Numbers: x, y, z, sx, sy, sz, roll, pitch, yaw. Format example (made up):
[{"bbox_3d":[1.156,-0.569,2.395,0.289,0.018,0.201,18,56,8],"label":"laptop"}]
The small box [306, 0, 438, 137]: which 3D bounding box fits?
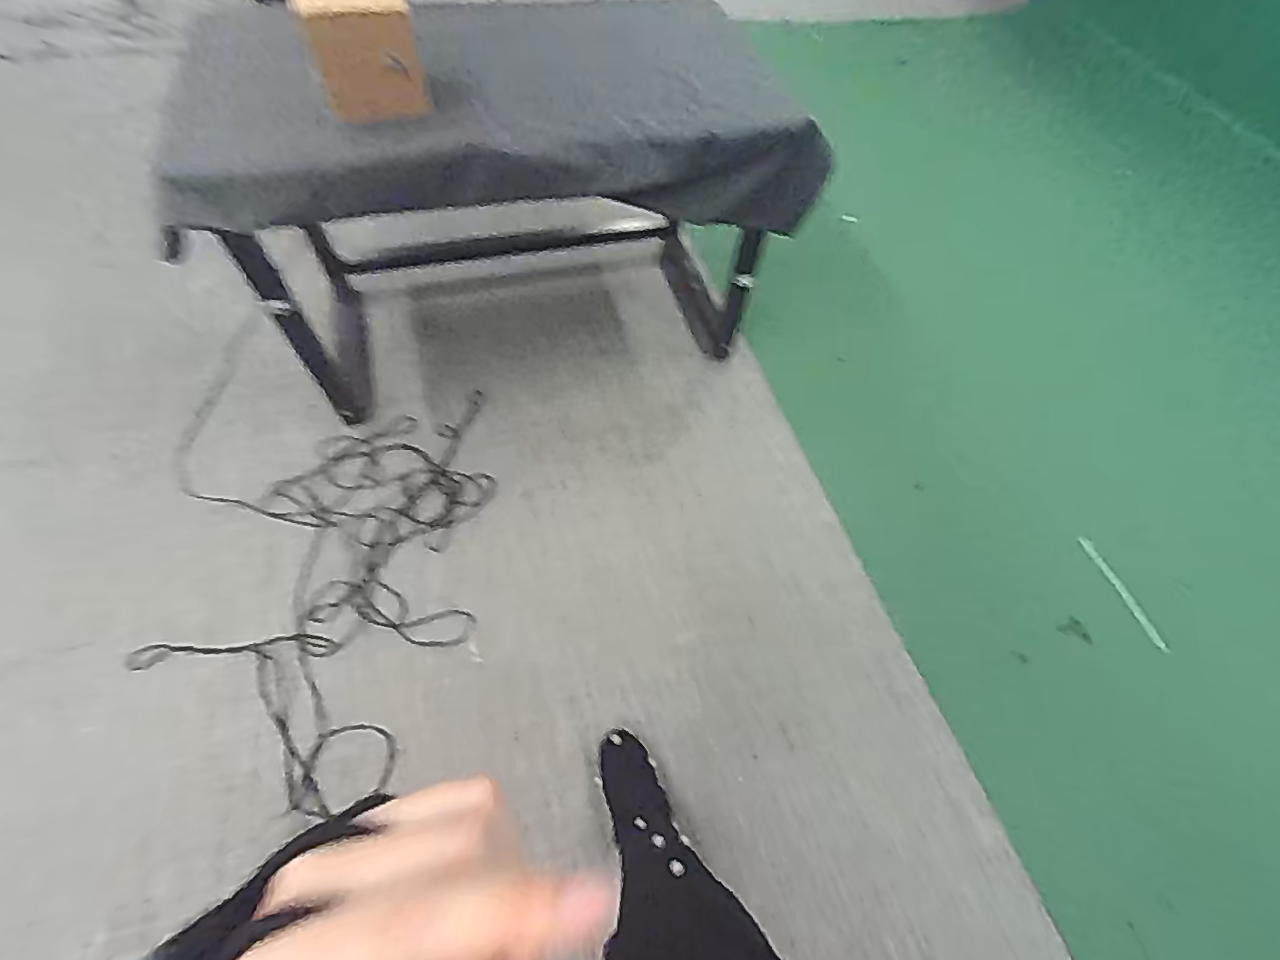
[{"bbox_3d":[-0.485,-0.768,0.998,0.179,0.176,0.168,-16,60,-13],"label":"small box"}]
